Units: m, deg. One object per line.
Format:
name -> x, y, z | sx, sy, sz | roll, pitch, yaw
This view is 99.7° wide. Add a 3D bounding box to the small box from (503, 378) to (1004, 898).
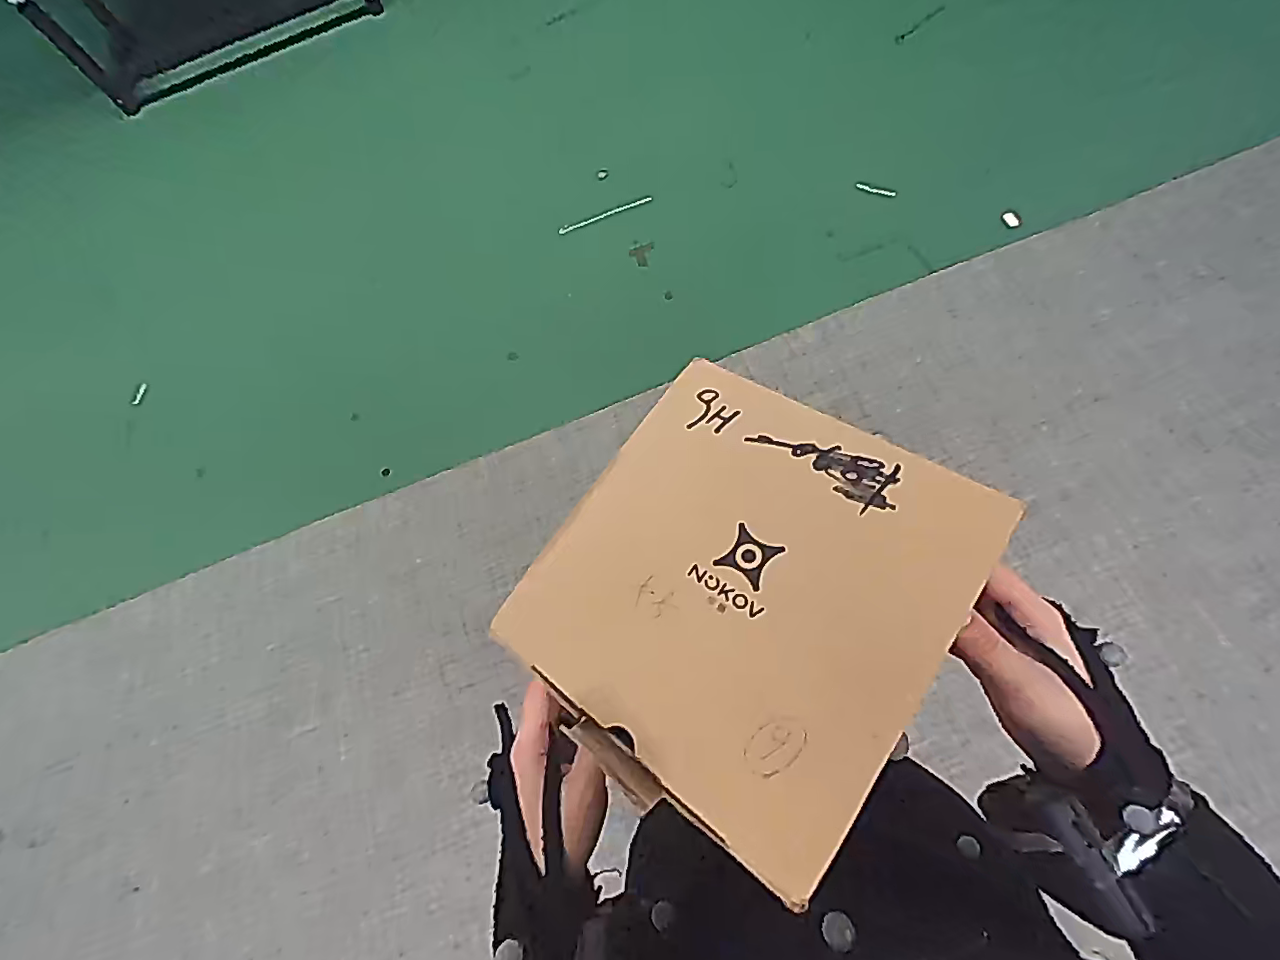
small box -> 0.063, 0.080, 0.315 | 0.168, 0.176, 0.179 | 31, 77, 25
